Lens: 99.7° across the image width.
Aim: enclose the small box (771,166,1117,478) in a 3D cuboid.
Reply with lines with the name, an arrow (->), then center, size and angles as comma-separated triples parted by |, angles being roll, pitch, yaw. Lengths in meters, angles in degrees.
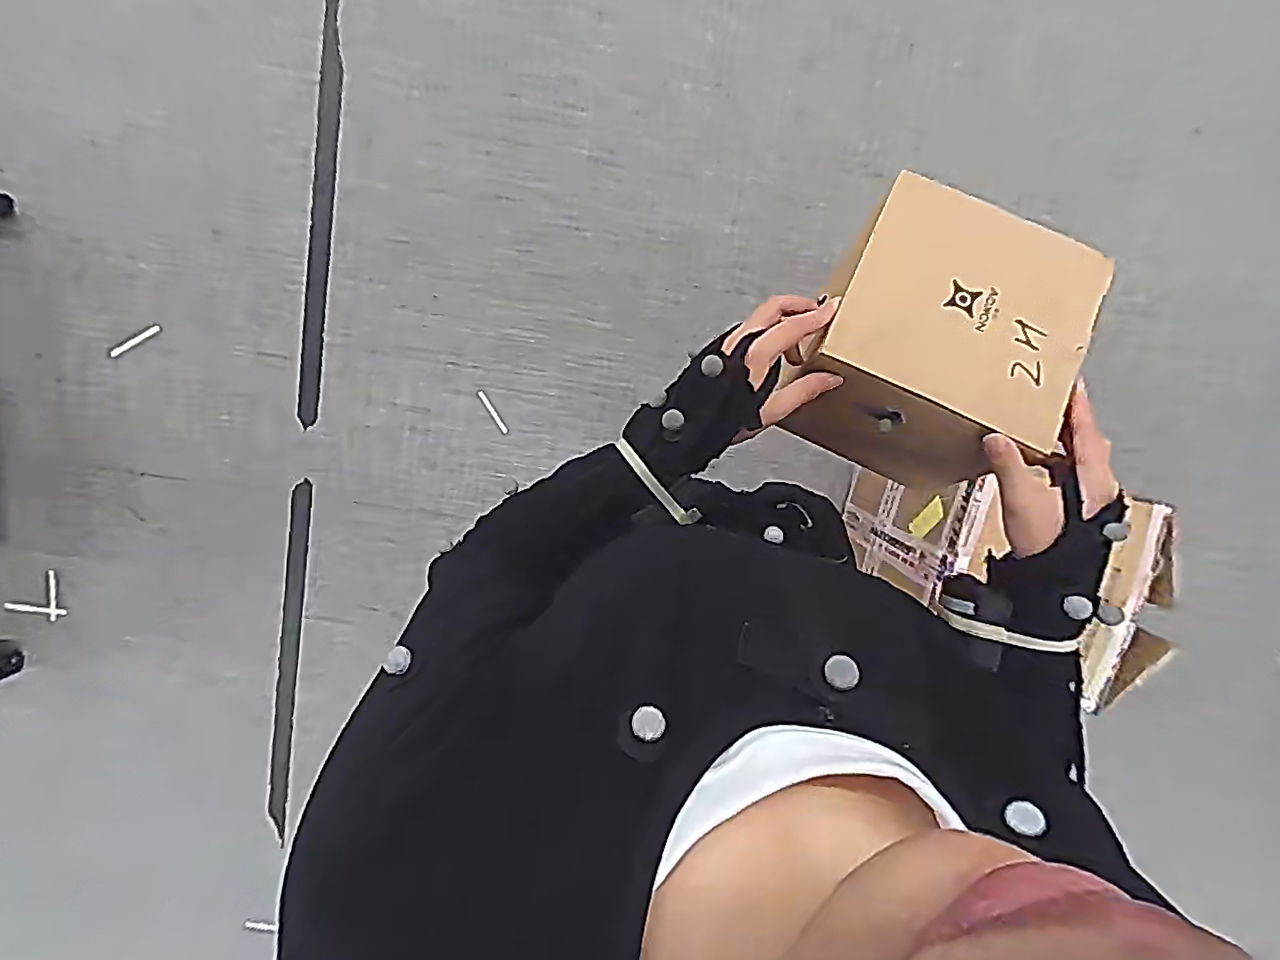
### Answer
small box -> 0.235, -0.114, 0.464 | 0.179, 0.176, 0.168 | 25, 81, 3
